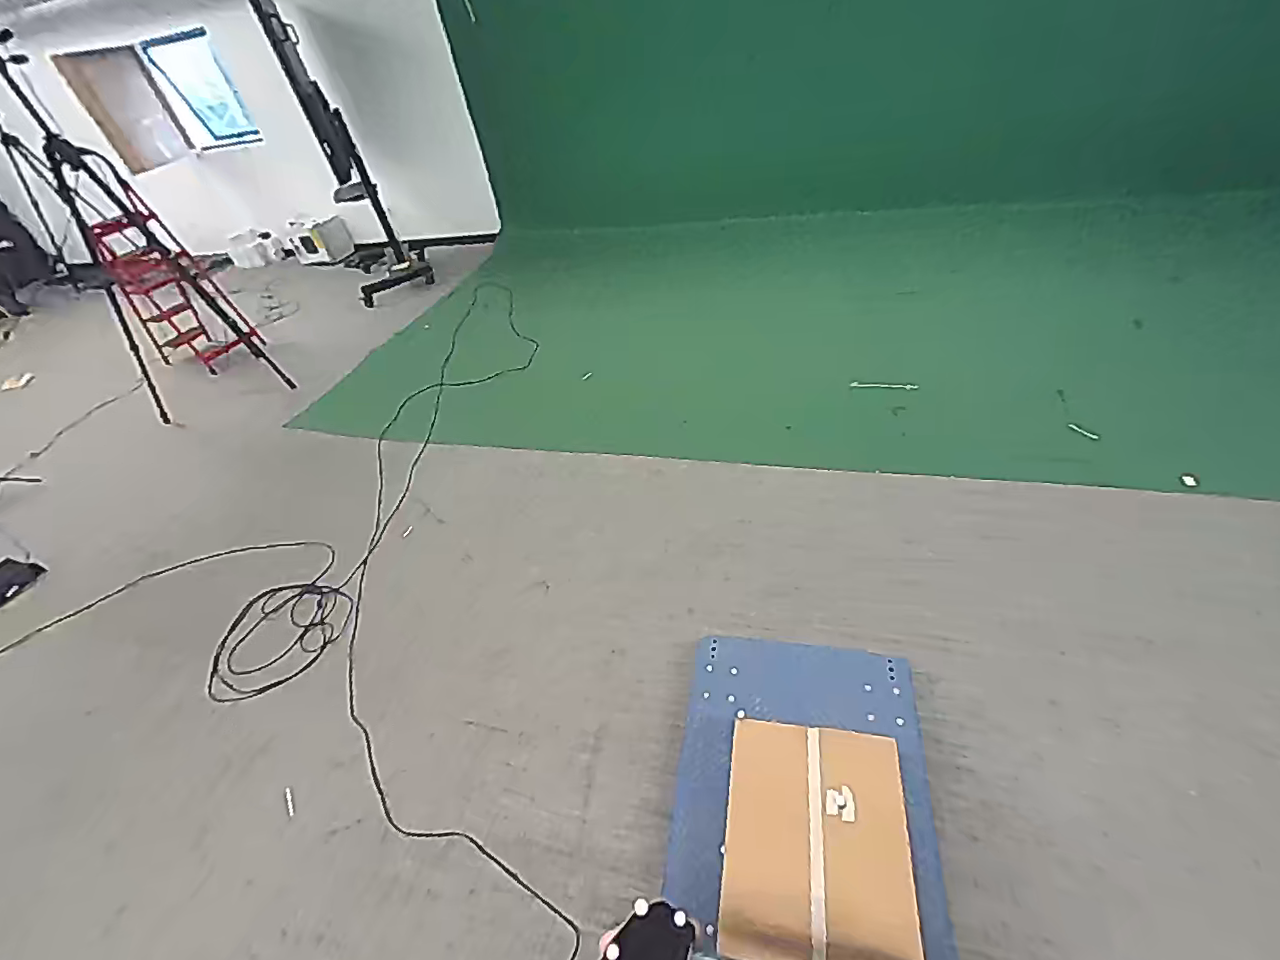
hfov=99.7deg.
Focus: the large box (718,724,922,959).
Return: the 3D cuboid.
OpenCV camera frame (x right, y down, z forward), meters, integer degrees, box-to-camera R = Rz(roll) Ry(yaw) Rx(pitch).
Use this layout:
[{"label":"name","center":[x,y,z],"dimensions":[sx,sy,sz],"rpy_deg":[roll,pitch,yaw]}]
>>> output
[{"label":"large box","center":[0.334,0.762,1.061],"dimensions":[0.320,0.320,0.408],"rpy_deg":[2,41,15]}]
